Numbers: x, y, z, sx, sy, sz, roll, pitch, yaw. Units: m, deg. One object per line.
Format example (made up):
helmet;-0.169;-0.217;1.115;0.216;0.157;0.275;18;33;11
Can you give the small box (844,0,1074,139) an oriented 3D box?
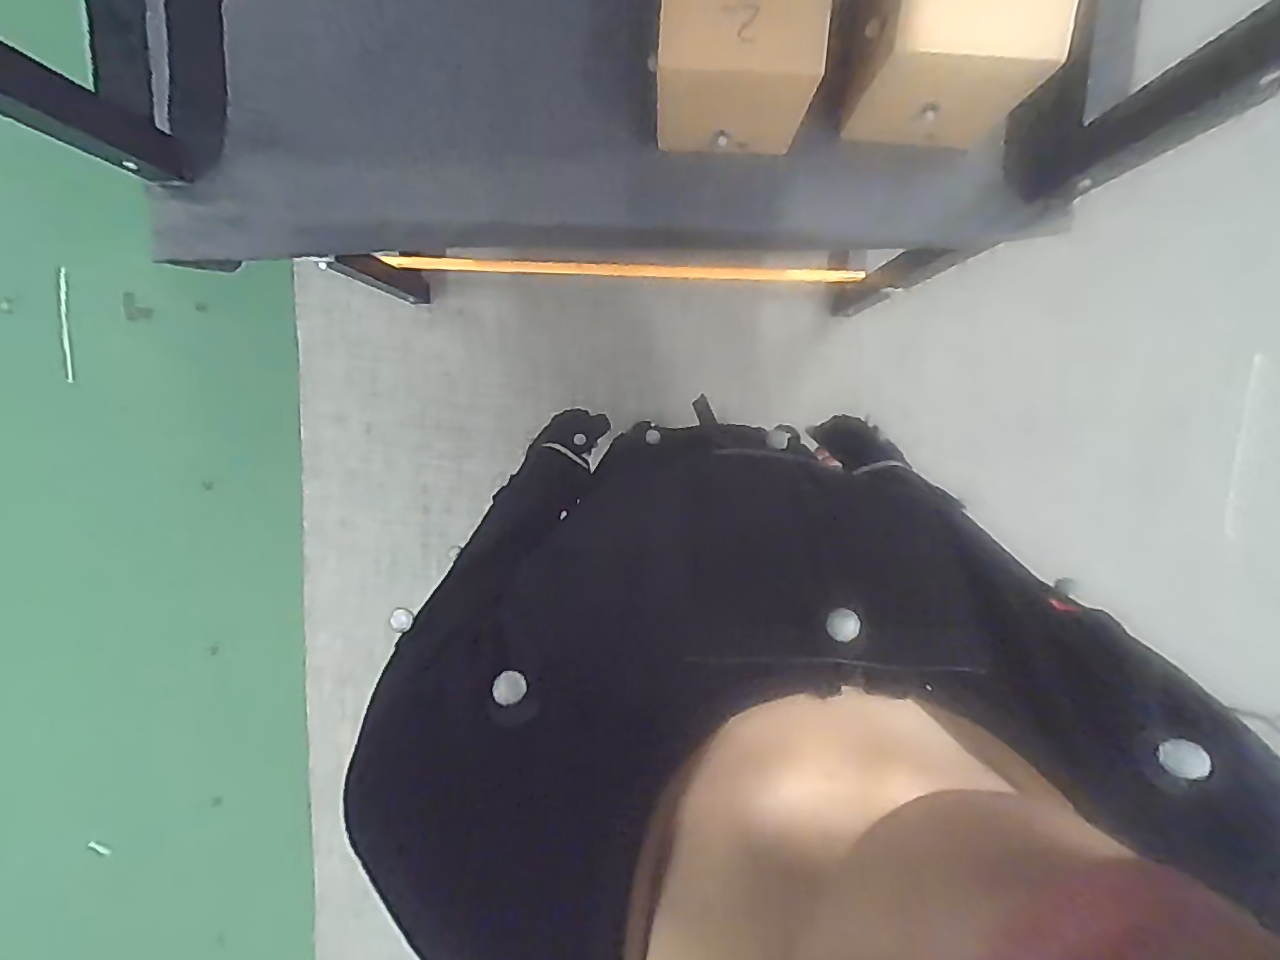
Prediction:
small box;0.336;-0.504;0.588;0.168;0.176;0.179;6;97;1
